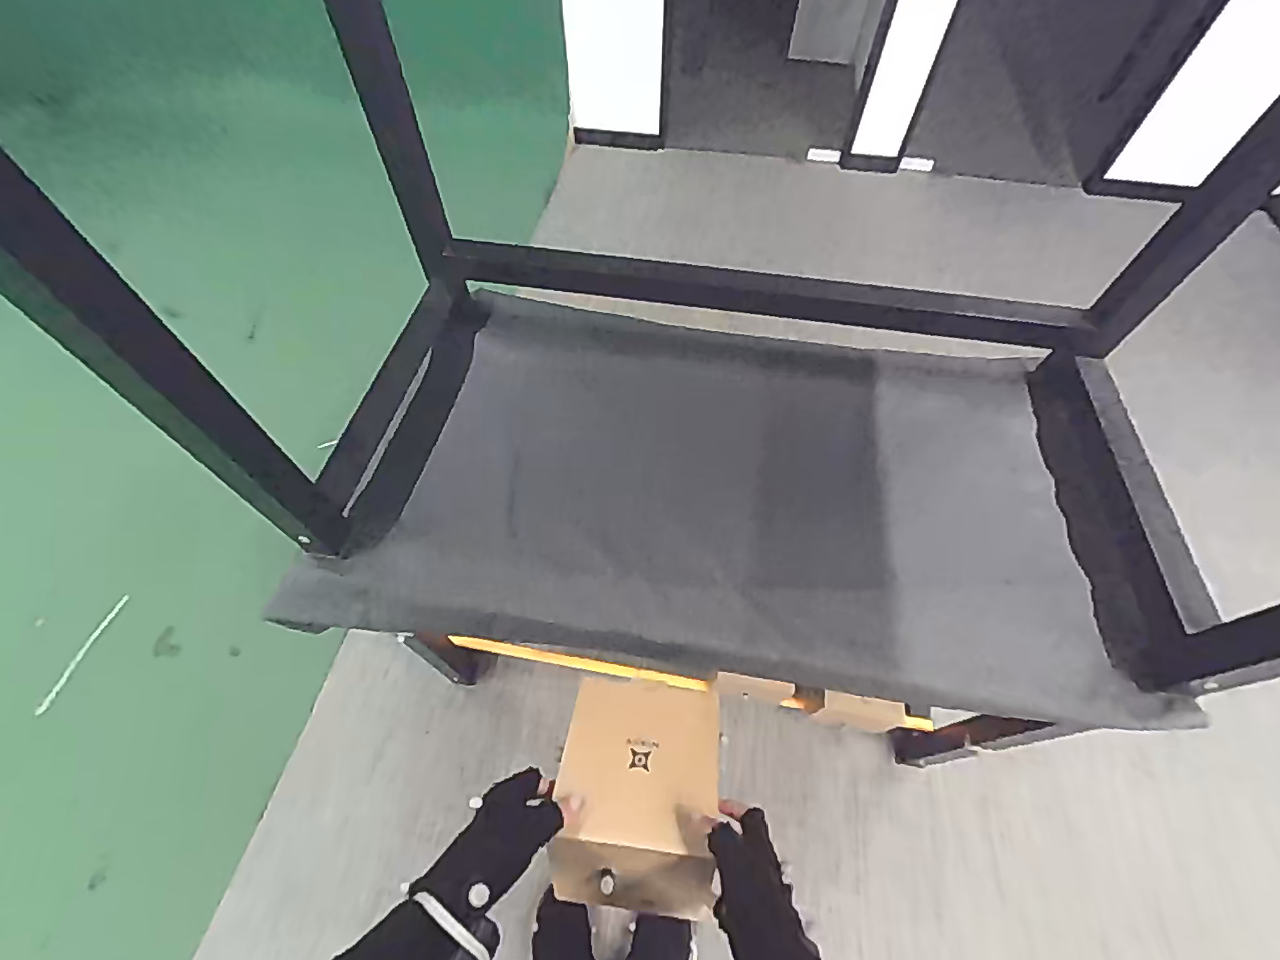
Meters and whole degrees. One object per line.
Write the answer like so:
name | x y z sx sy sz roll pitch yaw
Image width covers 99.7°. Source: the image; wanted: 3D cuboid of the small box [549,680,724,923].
small box | 0.005 0.355 0.603 0.168 0.176 0.179 4 34 5

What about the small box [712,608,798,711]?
small box | 0.260 0.416 1.238 0.168 0.176 0.179 8 57 4
